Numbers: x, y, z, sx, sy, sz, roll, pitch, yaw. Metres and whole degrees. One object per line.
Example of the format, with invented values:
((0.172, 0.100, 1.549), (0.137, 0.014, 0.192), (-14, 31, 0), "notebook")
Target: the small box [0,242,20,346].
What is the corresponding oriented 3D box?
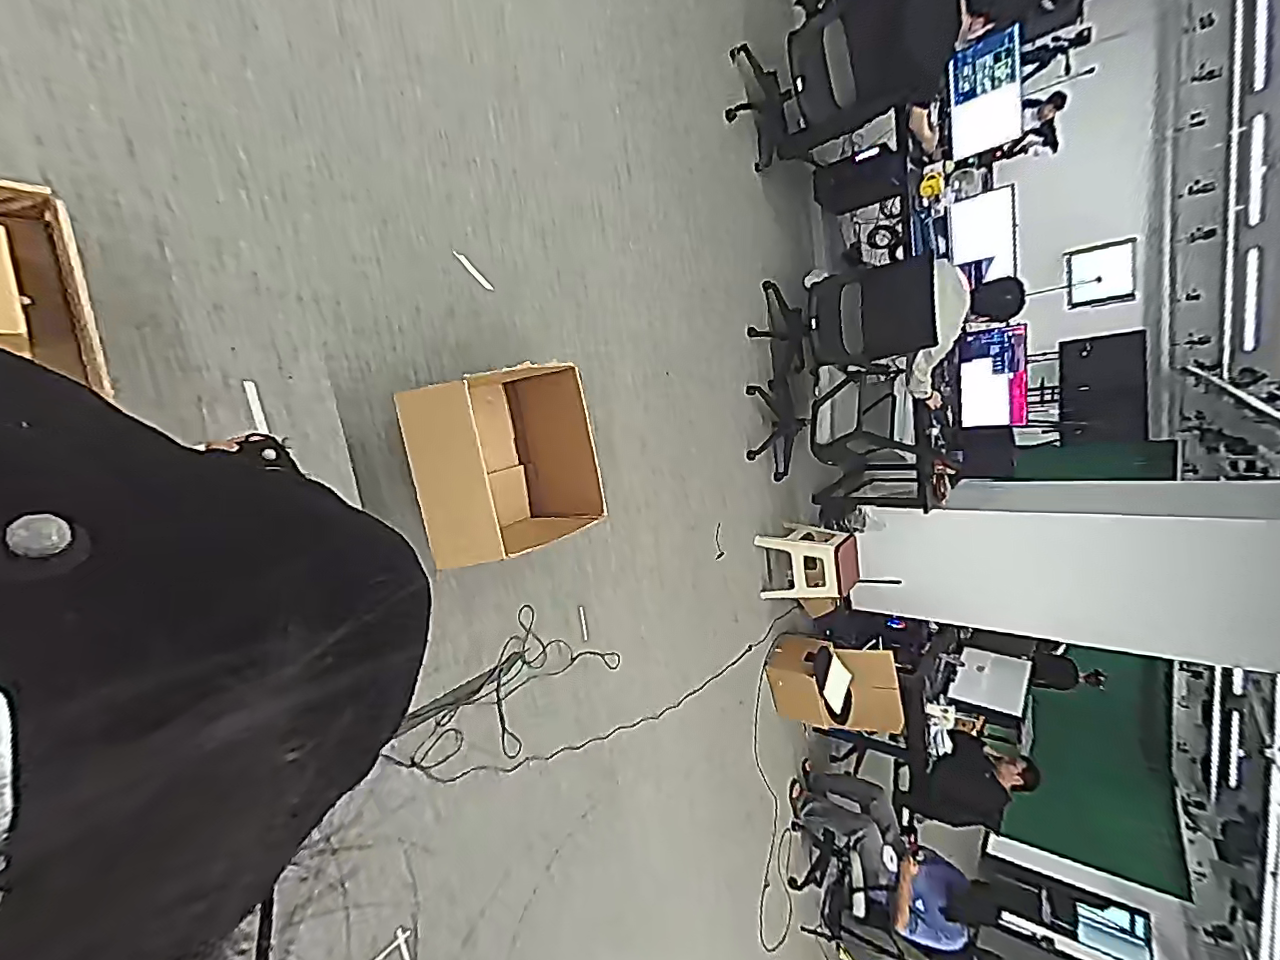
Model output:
((-1.127, -0.311, 0.860), (0.168, 0.176, 0.179), (-13, 101, -48), "small box")
